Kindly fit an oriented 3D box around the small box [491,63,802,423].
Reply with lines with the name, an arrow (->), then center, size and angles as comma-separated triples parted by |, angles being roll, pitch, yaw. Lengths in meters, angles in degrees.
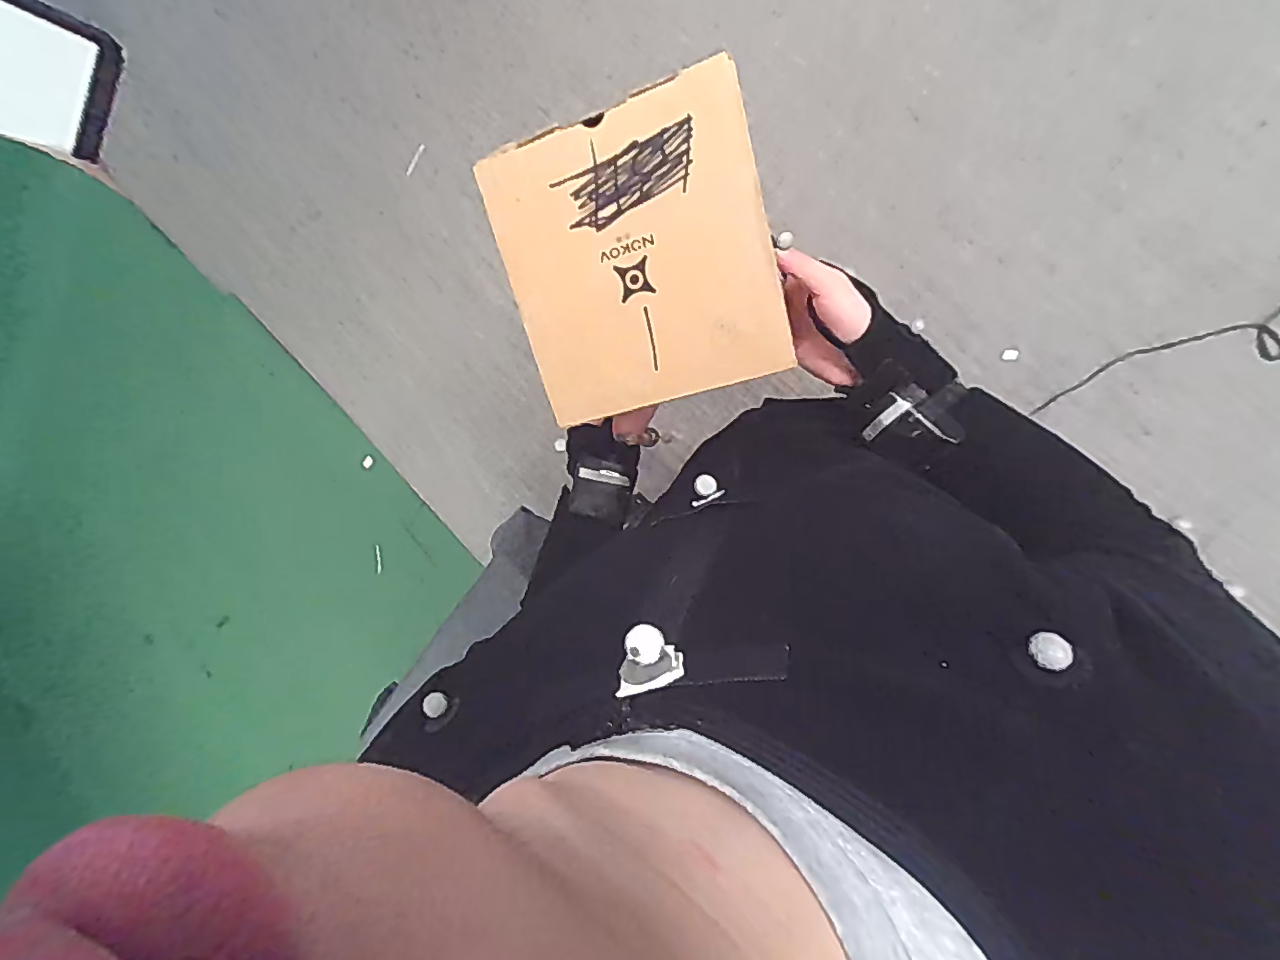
small box -> 0.020, -0.158, 0.412 | 0.168, 0.176, 0.179 | -12, 105, 18
